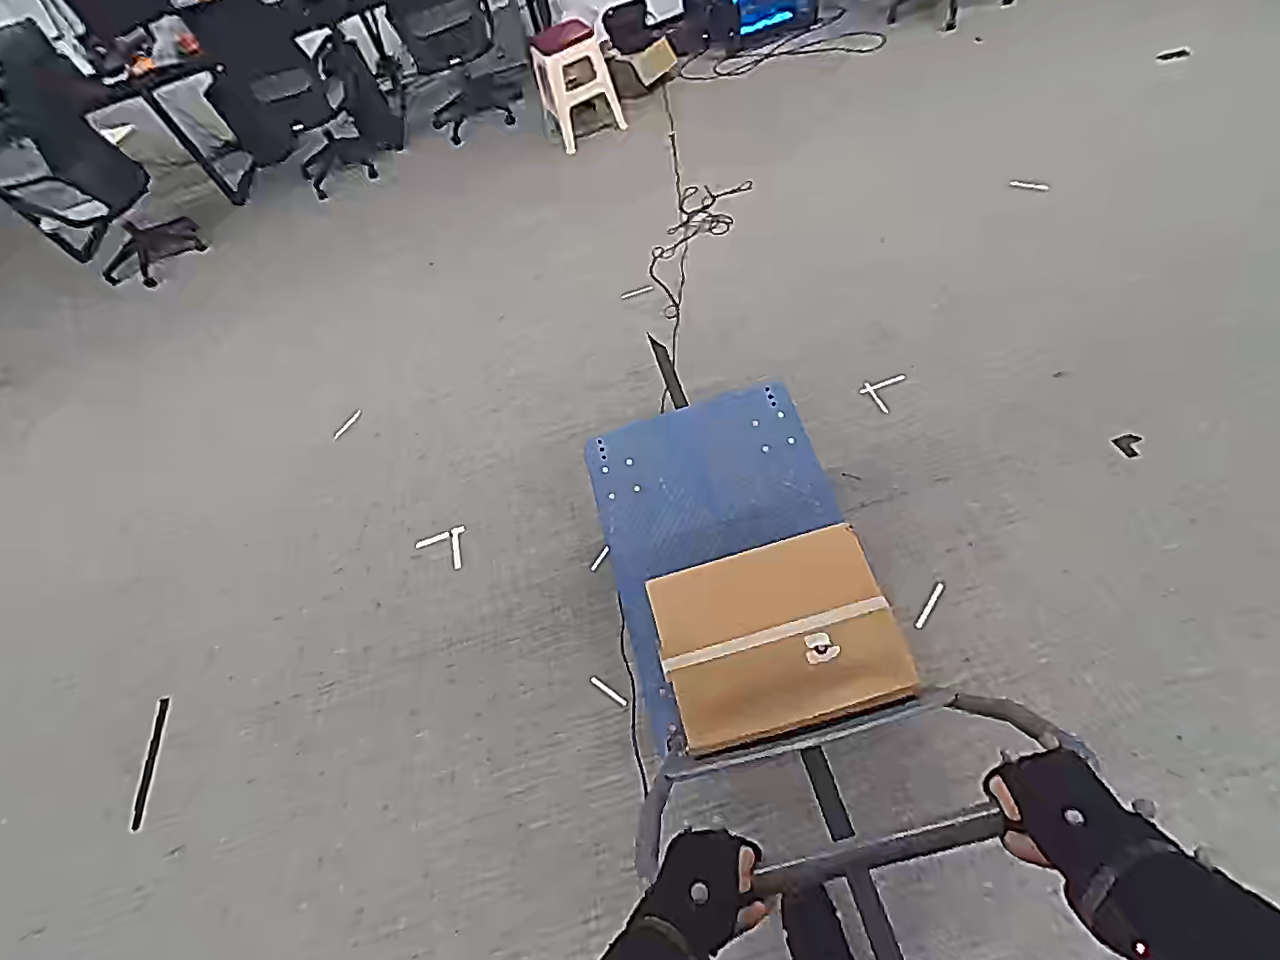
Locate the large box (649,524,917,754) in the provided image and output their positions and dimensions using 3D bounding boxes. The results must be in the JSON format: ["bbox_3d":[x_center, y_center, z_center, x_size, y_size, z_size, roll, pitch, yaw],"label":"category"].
[{"bbox_3d":[0.266,0.333,1.118,0.408,0.320,0.320,-17,68,2],"label":"large box"}]
